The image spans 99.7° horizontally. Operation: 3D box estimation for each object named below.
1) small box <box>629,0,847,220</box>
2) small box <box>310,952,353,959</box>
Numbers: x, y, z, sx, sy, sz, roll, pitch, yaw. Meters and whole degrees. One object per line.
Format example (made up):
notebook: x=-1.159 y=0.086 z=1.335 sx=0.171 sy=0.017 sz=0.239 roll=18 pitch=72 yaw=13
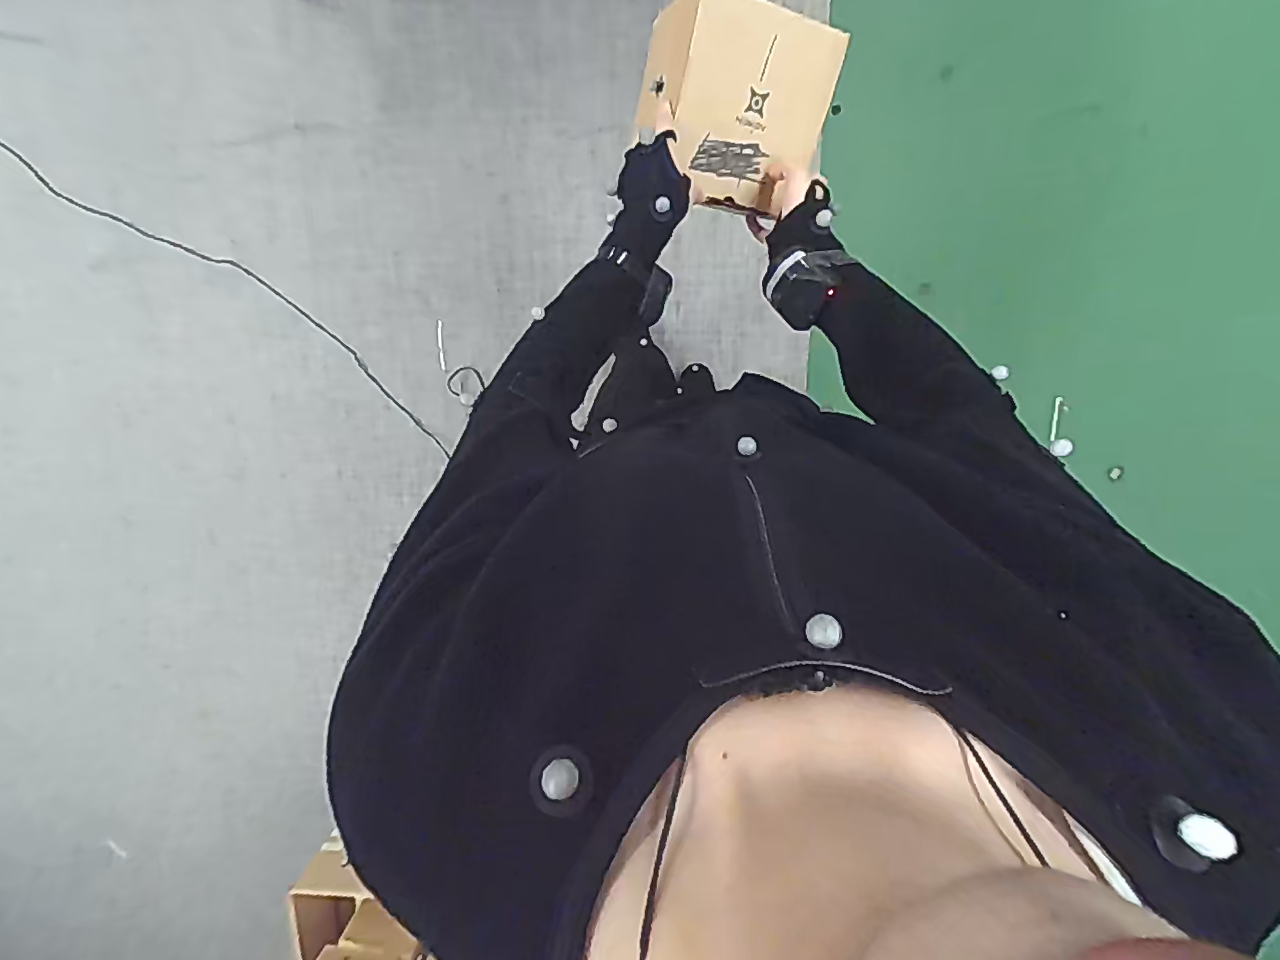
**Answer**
small box: x=0.093 y=-0.413 z=0.616 sx=0.168 sy=0.176 sz=0.179 roll=5 pitch=115 yaw=-19
small box: x=-0.633 y=1.111 z=1.089 sx=0.168 sy=0.176 sz=0.179 roll=8 pitch=101 yaw=2
